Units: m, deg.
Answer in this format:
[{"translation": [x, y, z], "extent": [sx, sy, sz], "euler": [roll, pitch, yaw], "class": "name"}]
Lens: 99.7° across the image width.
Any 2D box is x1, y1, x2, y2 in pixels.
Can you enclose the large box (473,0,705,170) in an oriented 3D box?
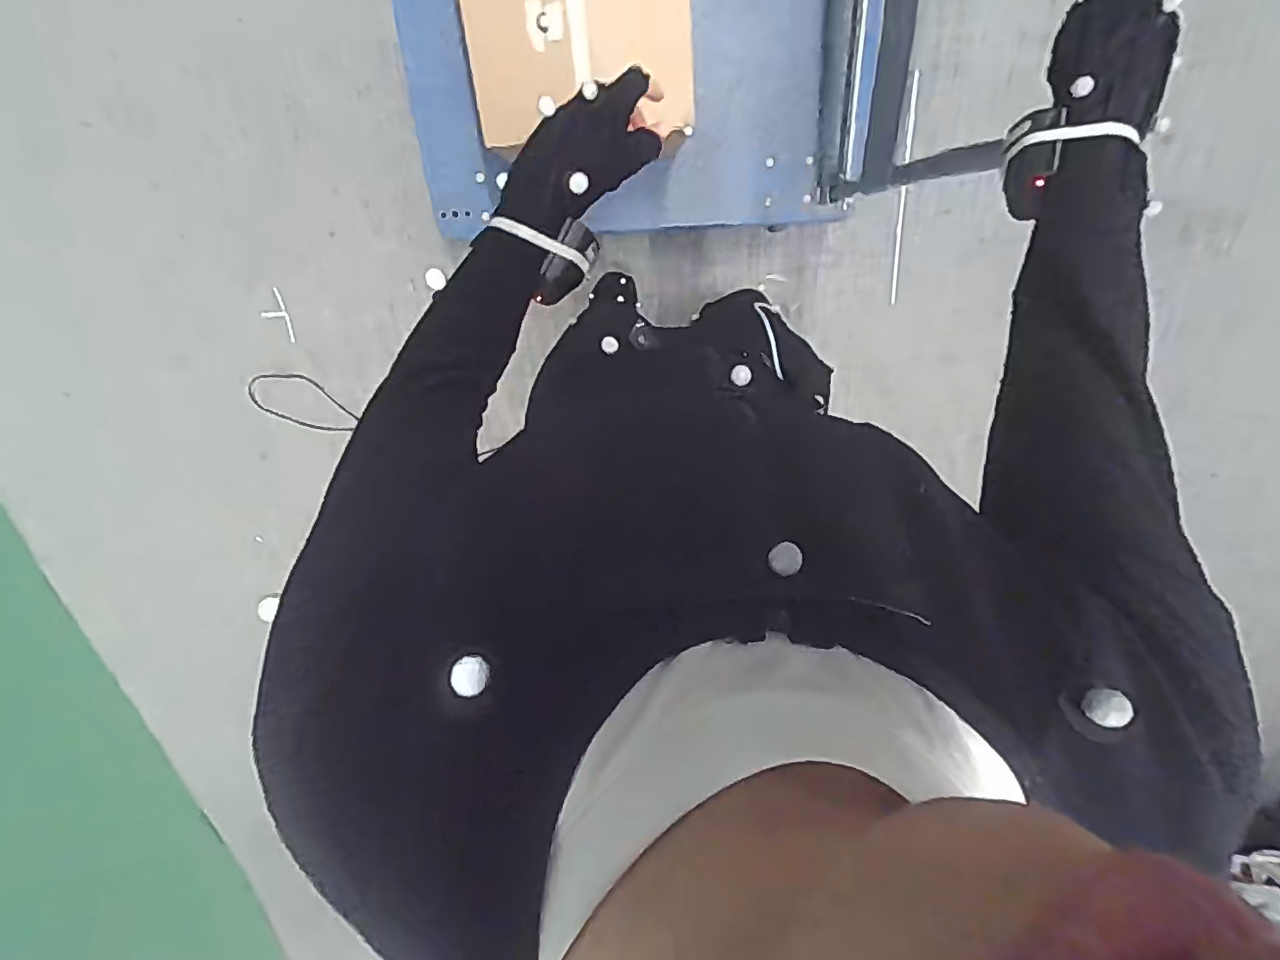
[{"translation": [-0.082, -0.750, 0.857], "extent": [0.320, 0.320, 0.408], "euler": [-6, 115, 2], "class": "large box"}]
